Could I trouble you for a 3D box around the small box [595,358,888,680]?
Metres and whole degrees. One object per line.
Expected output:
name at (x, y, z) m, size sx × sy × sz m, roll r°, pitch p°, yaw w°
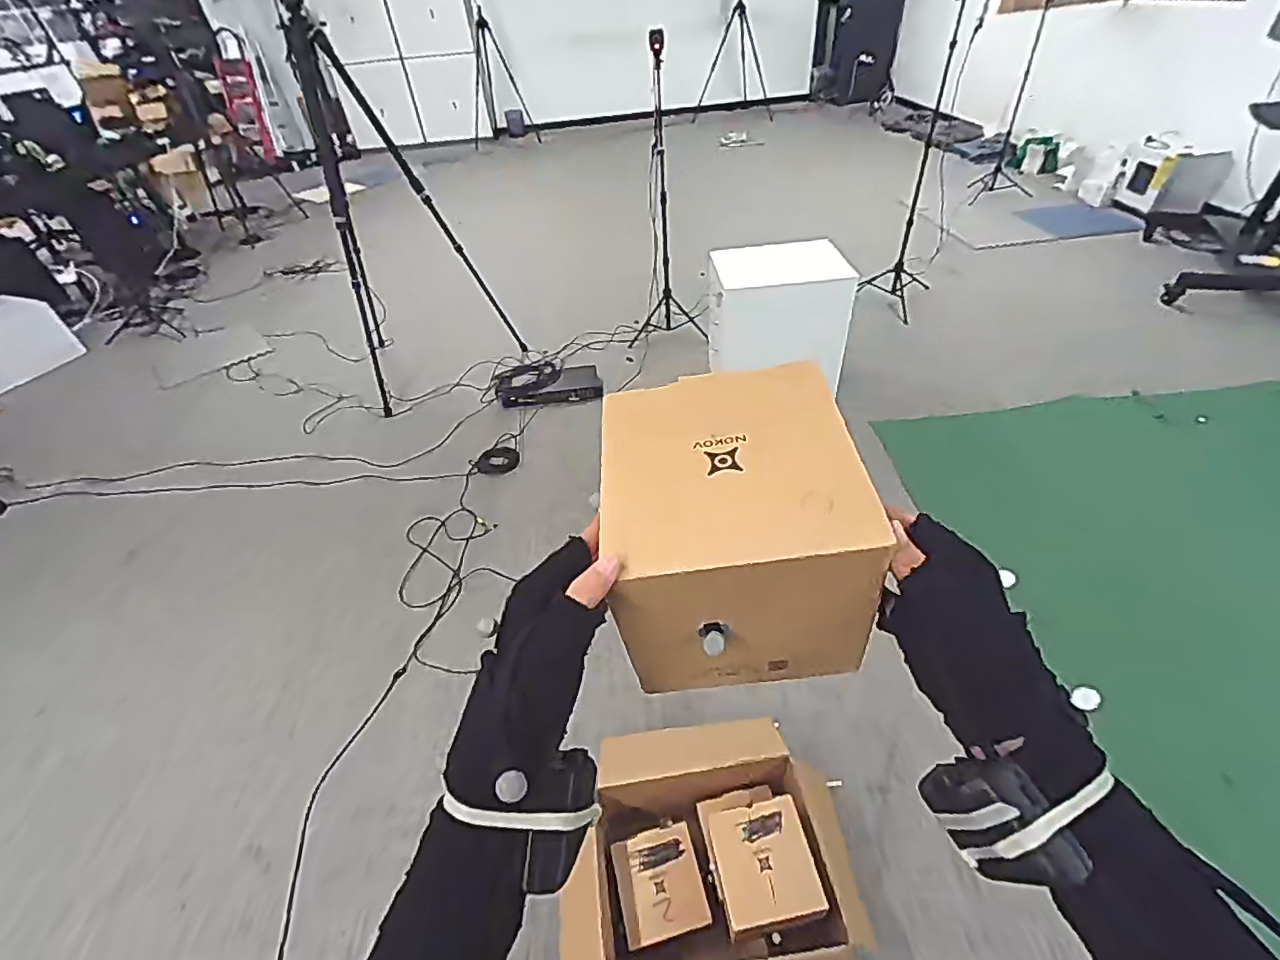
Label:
small box at (0.067, 0.037, 0.409) m, size 0.168 × 0.176 × 0.179 m, roll -8°, pitch 46°, yaw 6°
